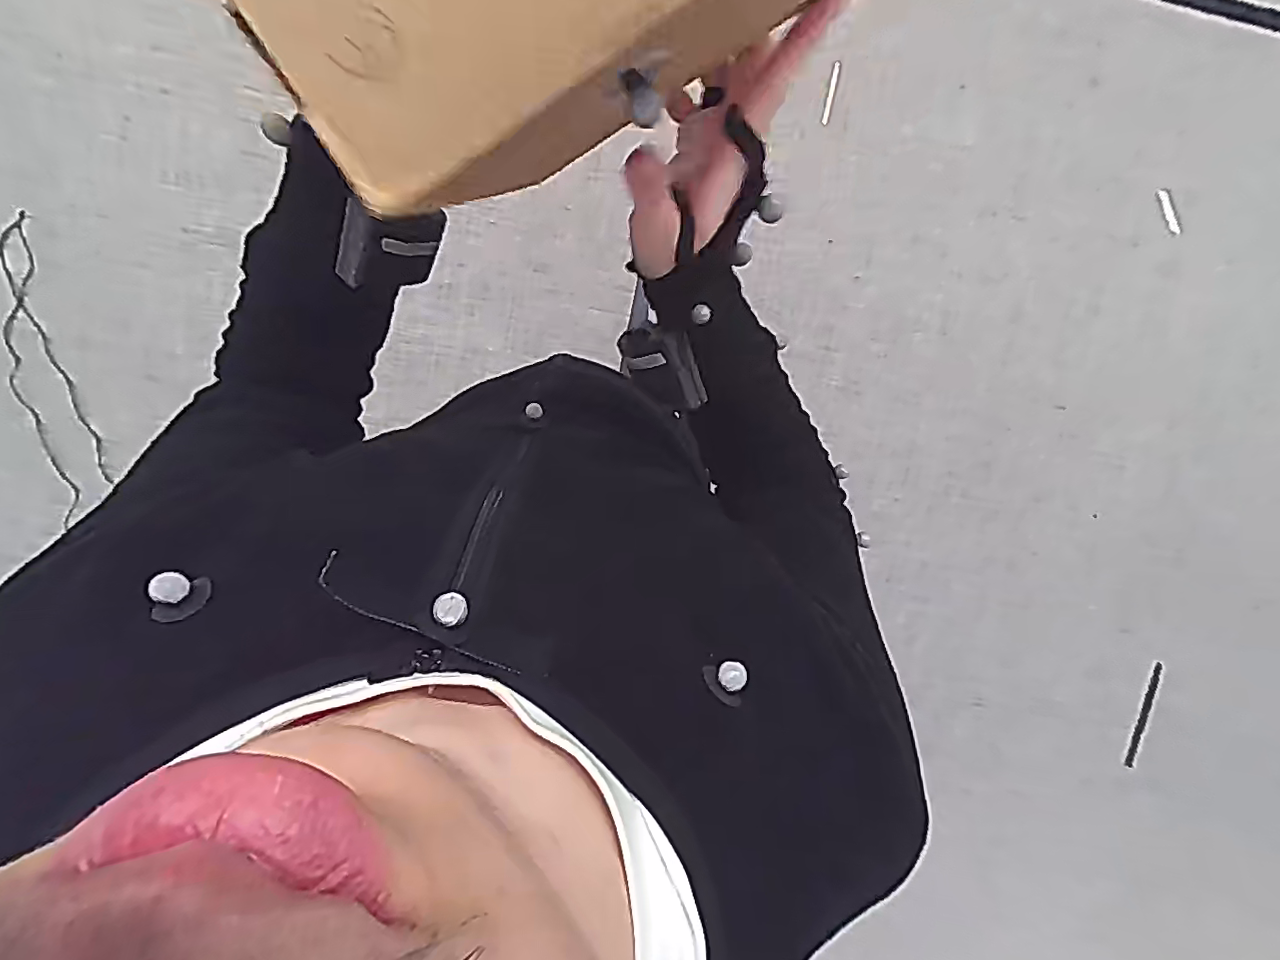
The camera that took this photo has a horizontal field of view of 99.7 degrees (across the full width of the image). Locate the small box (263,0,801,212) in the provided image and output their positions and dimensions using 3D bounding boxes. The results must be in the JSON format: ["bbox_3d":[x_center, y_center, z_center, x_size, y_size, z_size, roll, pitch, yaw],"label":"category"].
[{"bbox_3d":[-0.029,-0.220,0.178,0.179,0.176,0.168,-23,118,21],"label":"small box"}]
